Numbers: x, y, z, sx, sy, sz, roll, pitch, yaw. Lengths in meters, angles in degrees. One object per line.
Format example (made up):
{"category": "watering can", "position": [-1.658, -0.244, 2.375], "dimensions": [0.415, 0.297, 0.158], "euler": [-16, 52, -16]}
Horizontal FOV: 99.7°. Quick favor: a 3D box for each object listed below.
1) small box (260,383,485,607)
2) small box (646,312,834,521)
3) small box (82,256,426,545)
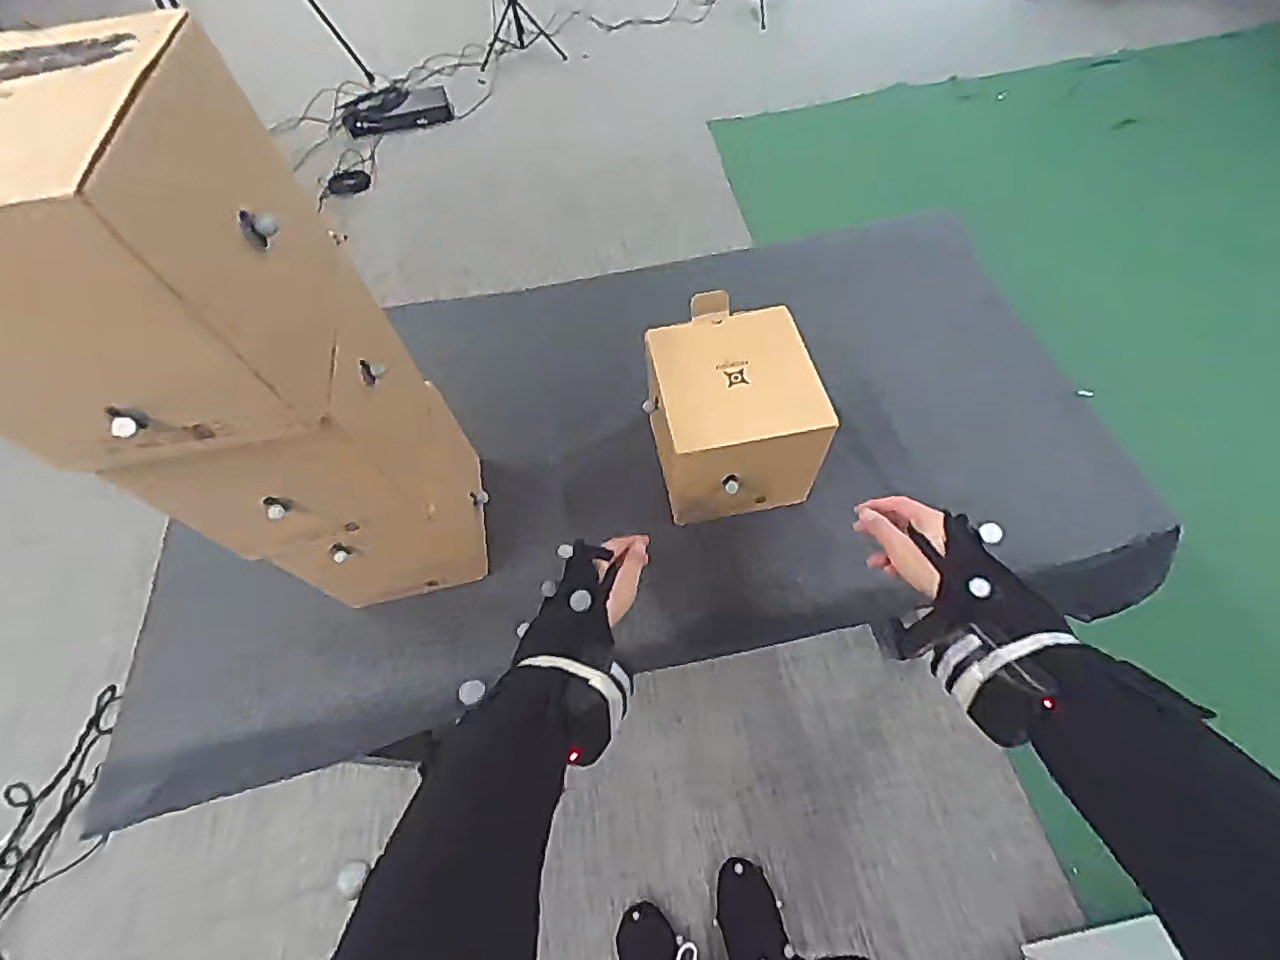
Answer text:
{"category": "small box", "position": [-0.283, 0.022, 0.612], "dimensions": [0.168, 0.176, 0.179], "euler": [-12, 59, -4]}
{"category": "small box", "position": [0.105, -0.064, 0.639], "dimensions": [0.168, 0.176, 0.179], "euler": [-10, 59, -2]}
{"category": "small box", "position": [-0.297, -0.056, 0.467], "dimensions": [0.168, 0.176, 0.179], "euler": [-11, 59, -4]}
